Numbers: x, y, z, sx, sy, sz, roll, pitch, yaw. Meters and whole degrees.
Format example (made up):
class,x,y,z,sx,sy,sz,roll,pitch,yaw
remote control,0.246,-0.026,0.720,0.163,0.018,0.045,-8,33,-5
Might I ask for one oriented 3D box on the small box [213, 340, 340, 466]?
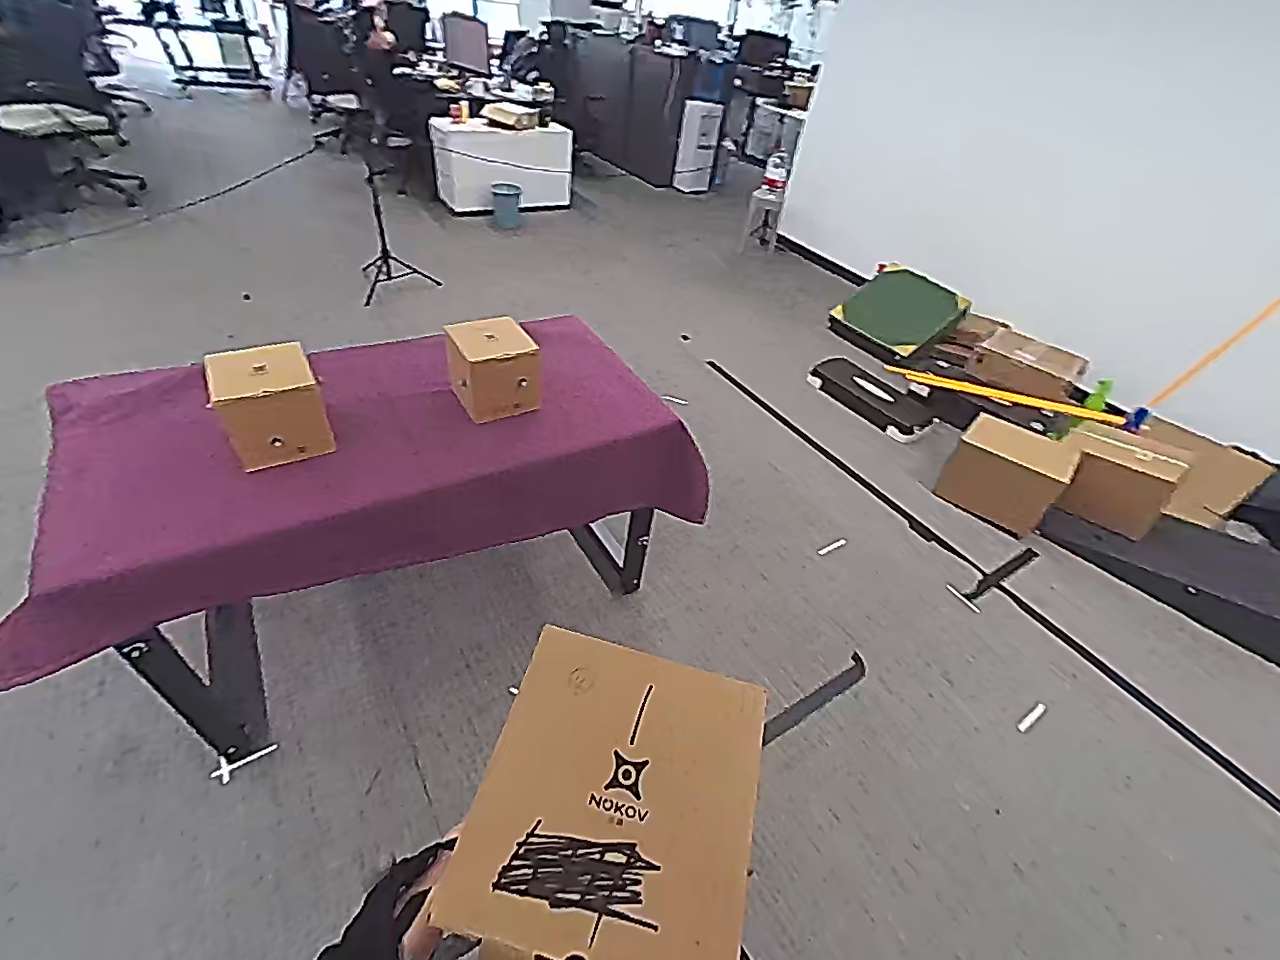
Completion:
class,x,y,z,sx,sy,sz,roll,pitch,yaw
small box,-0.729,-0.157,1.091,0.168,0.176,0.179,-19,50,-29

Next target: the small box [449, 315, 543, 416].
class,x,y,z,sx,sy,sz,roll,pitch,yaw
small box,-0.338,-0.267,1.284,0.168,0.176,0.179,-18,49,-28

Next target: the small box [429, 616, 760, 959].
class,x,y,z,sx,sy,sz,roll,pitch,yaw
small box,-0.023,0.234,0.398,0.168,0.176,0.179,16,51,5
